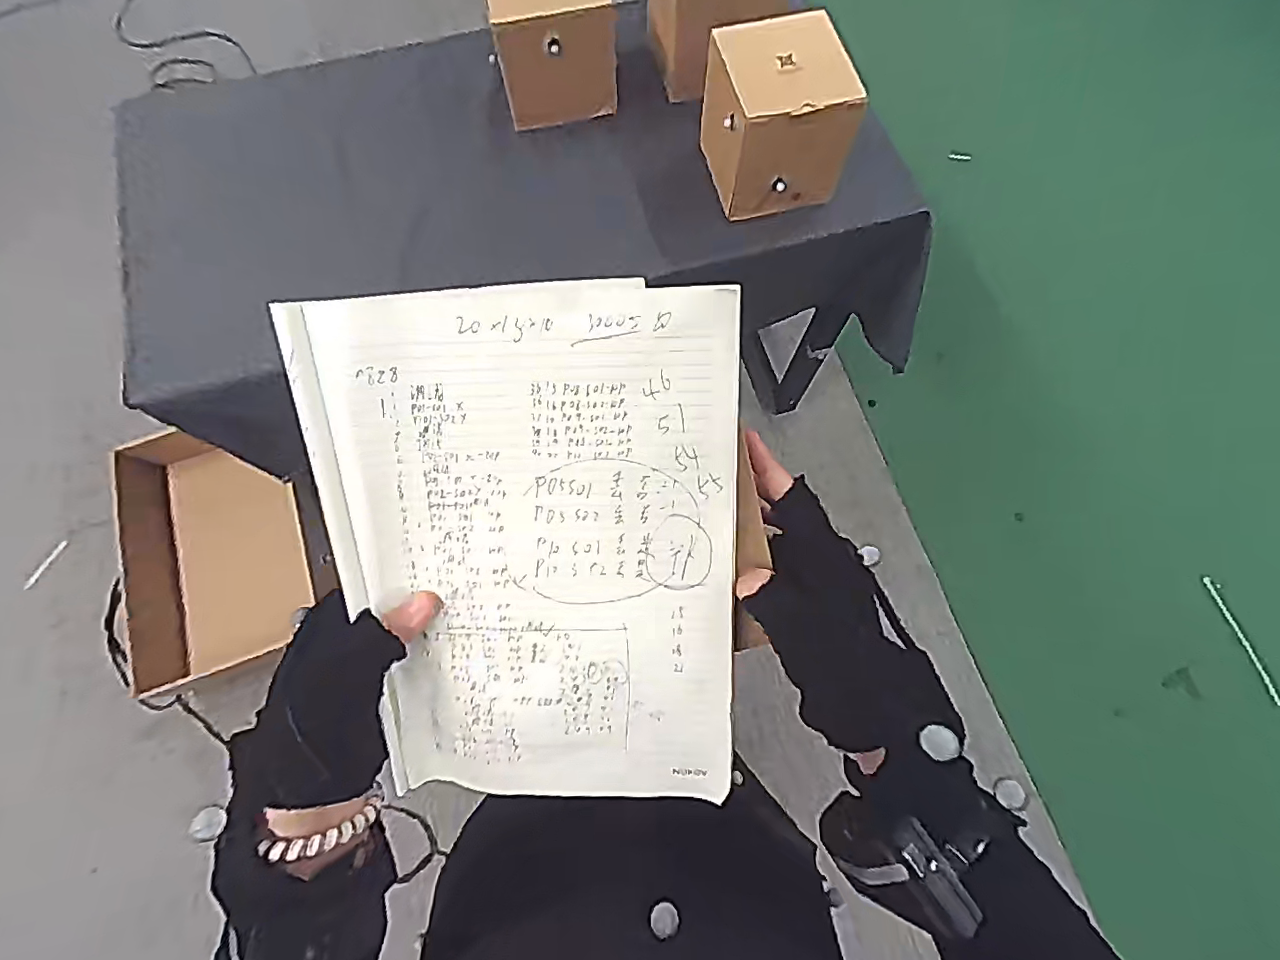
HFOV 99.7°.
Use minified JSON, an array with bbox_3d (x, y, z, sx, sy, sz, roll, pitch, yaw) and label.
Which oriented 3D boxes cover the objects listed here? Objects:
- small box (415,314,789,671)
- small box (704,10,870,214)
[{"bbox_3d":[-0.017,0.002,0.367,0.179,0.176,0.168,-12,96,3],"label":"small box"},{"bbox_3d":[0.198,-0.529,0.790,0.168,0.176,0.179,-12,72,-4],"label":"small box"}]
